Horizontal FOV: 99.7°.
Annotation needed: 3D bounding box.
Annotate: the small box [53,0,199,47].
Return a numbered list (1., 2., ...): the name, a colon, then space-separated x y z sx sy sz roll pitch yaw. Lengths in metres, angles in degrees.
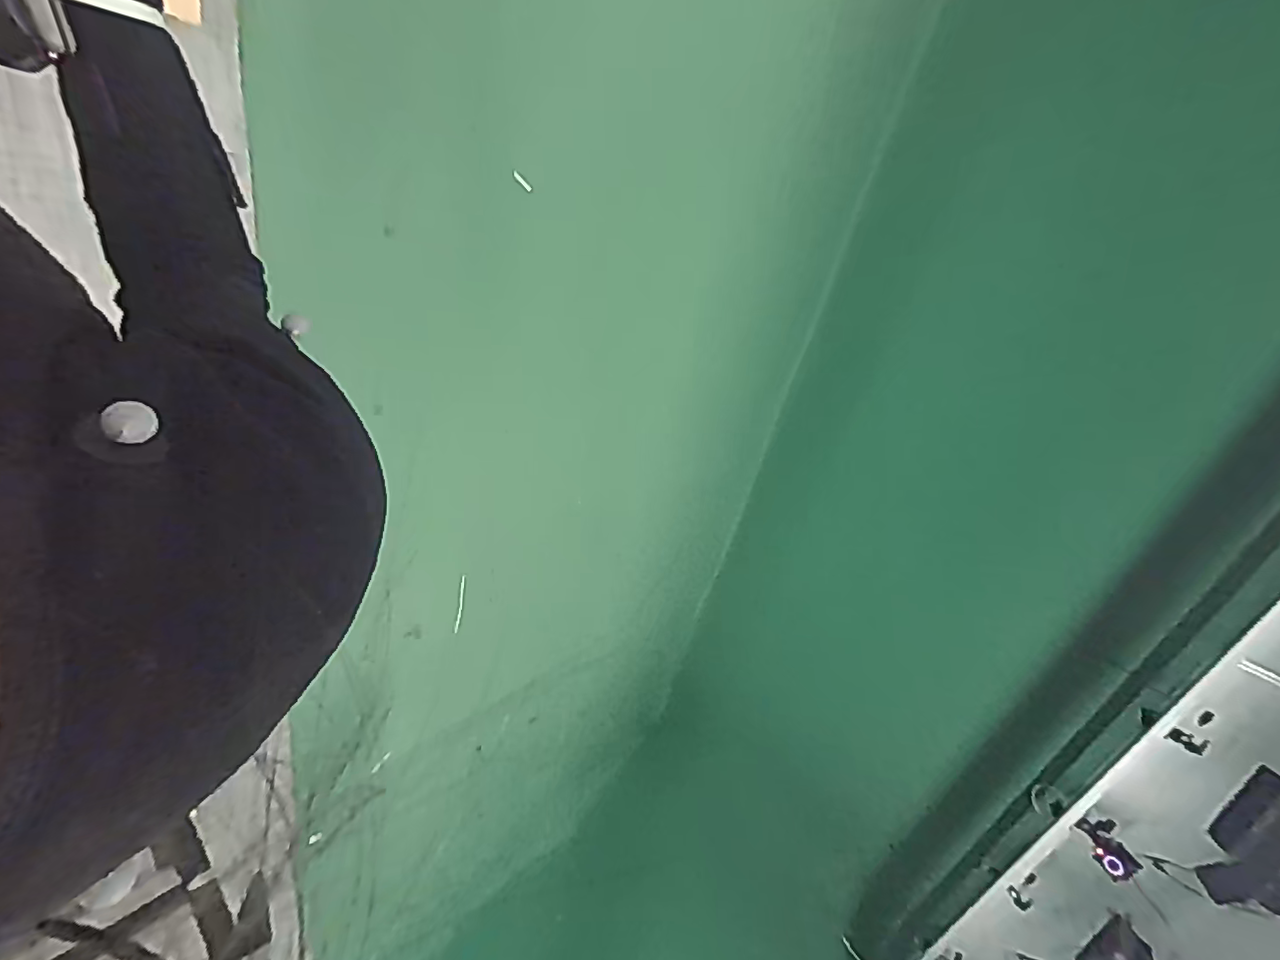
1. small box: -0.813 -0.808 0.835 0.168 0.176 0.179 -16 128 -49
